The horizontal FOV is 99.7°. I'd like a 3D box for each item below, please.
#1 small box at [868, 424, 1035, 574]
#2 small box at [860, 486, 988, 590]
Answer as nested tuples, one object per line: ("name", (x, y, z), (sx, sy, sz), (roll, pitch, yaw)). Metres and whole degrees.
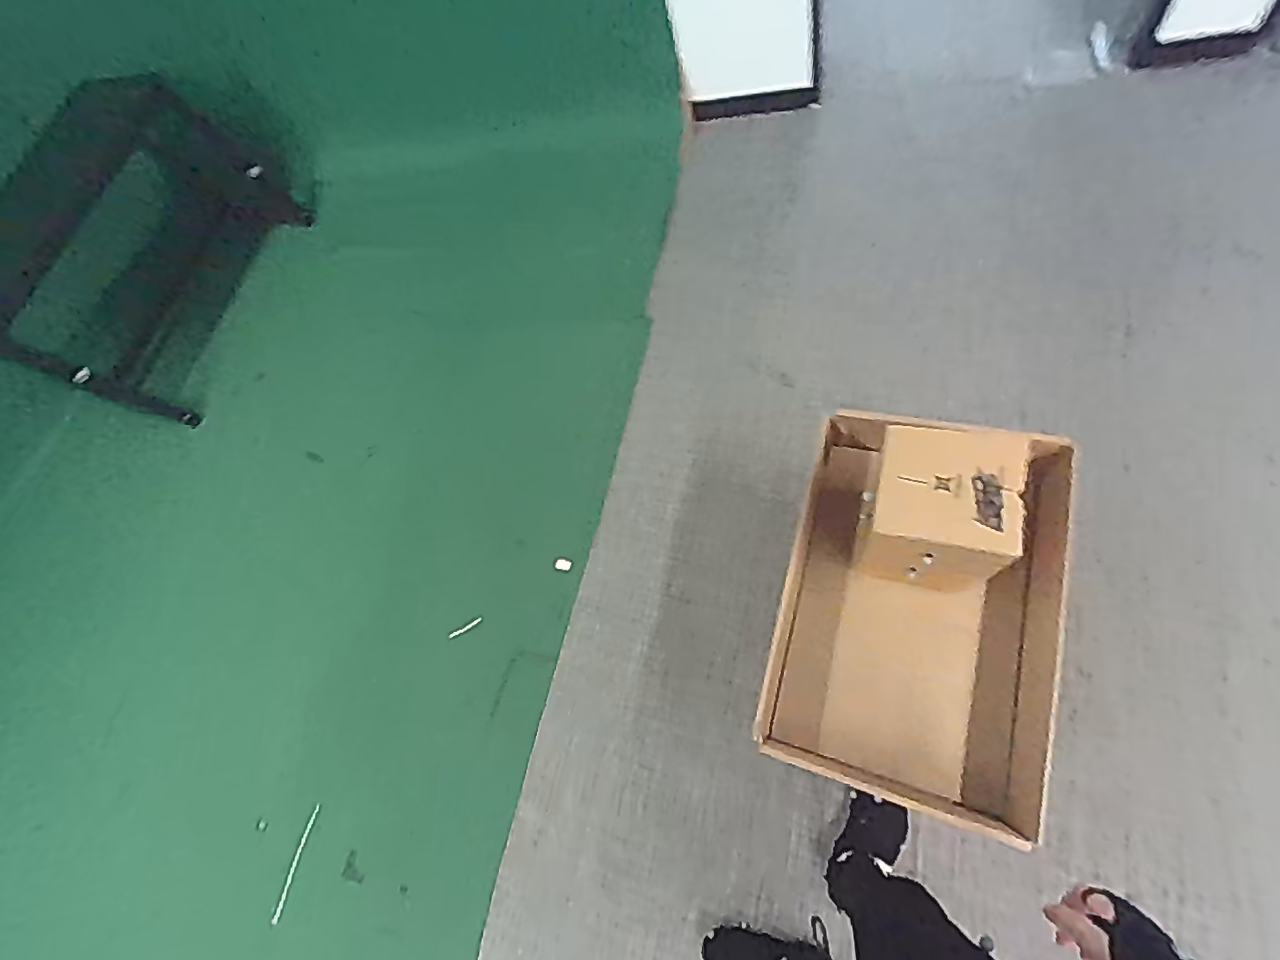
("small box", (0.446, 0.035, 0.797), (0.179, 0.176, 0.168), (10, 74, 22))
("small box", (0.496, 0.087, 0.945), (0.179, 0.176, 0.168), (12, 74, 21))
